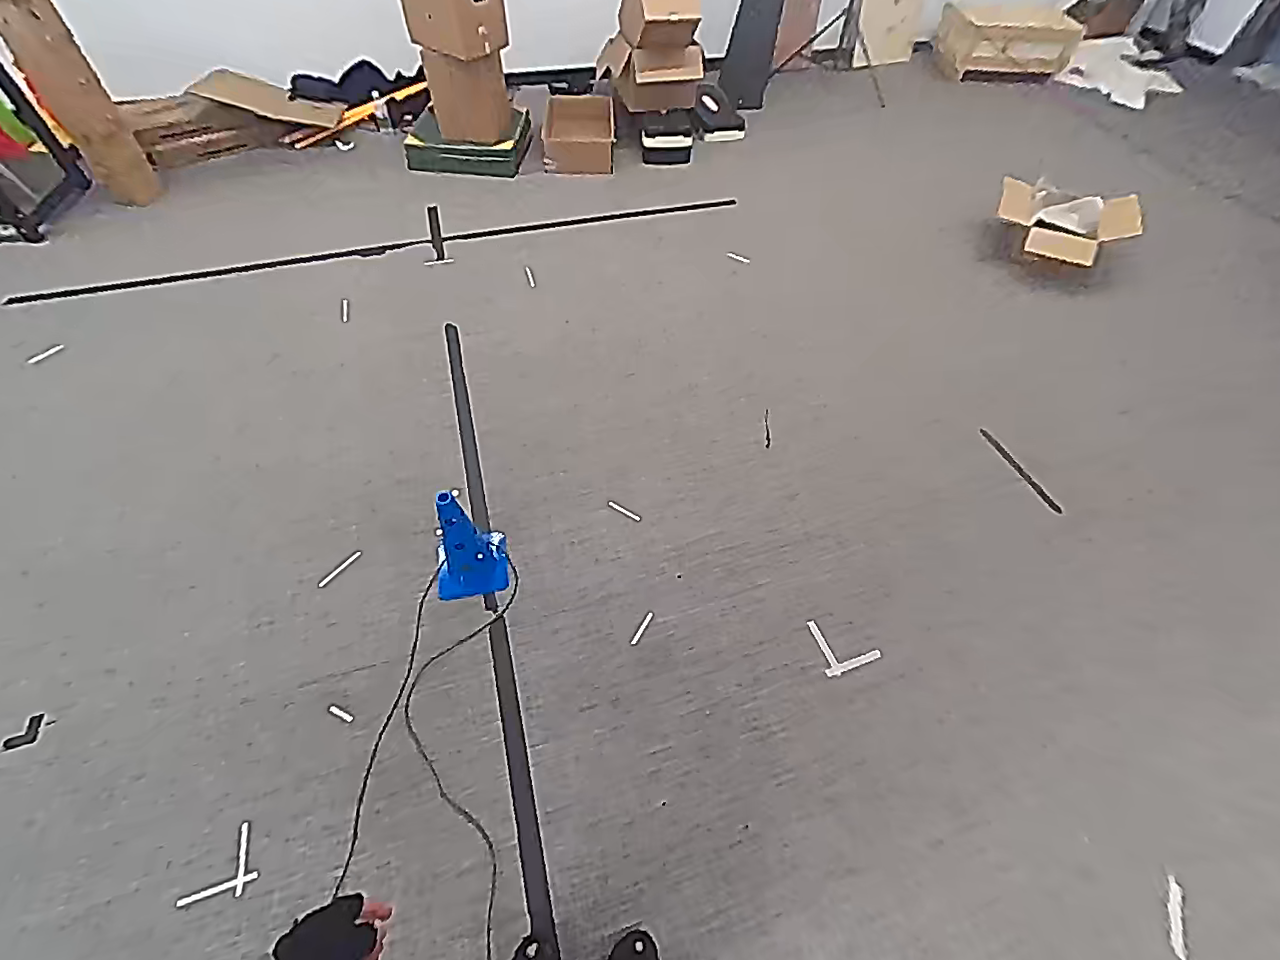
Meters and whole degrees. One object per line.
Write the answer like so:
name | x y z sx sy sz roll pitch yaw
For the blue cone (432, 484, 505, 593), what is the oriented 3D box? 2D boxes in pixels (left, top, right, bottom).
blue cone | -0.490 0.141 1.454 0.193 0.380 0.192 -11 55 -10
